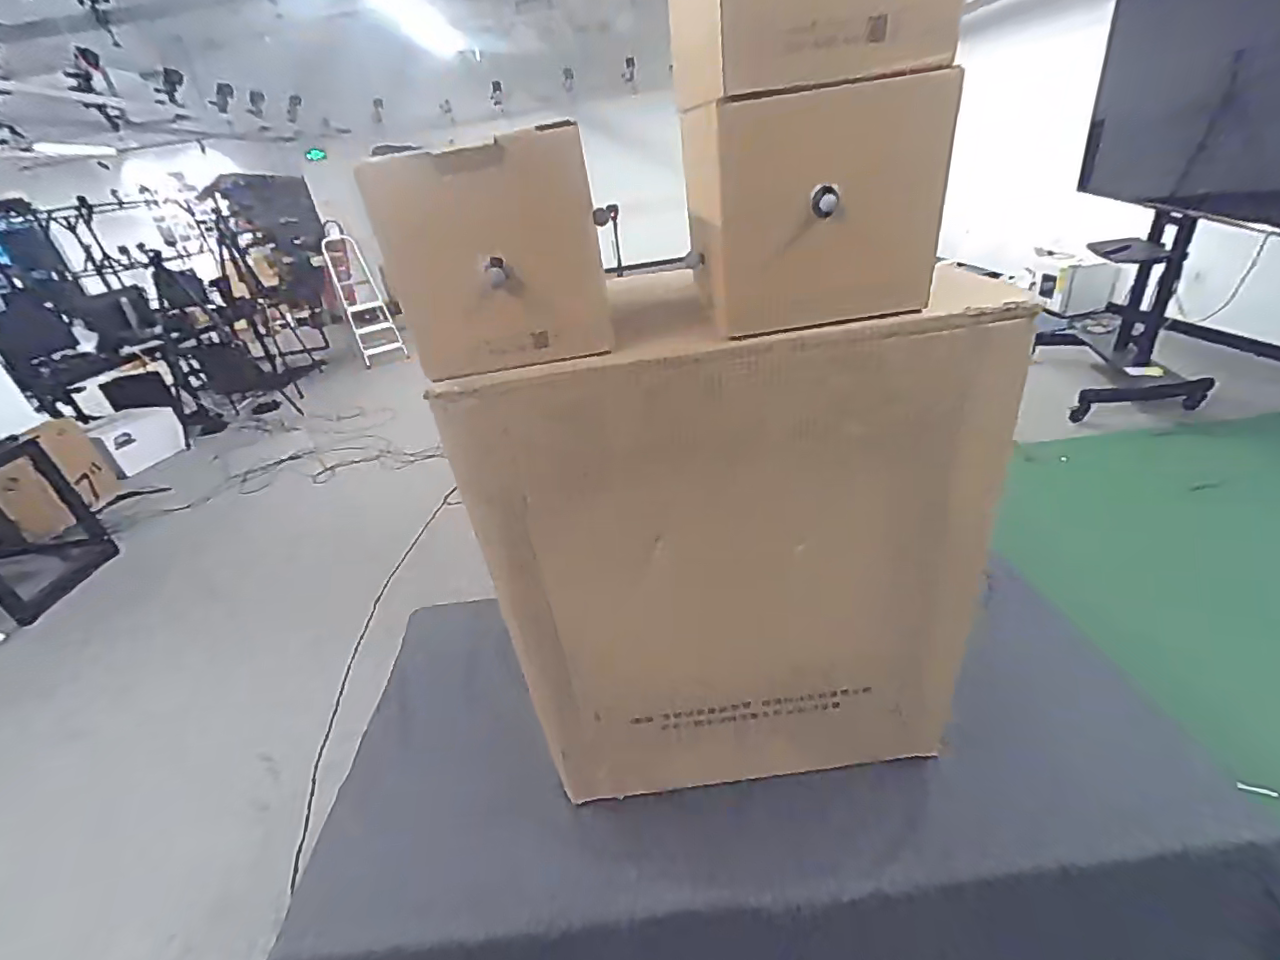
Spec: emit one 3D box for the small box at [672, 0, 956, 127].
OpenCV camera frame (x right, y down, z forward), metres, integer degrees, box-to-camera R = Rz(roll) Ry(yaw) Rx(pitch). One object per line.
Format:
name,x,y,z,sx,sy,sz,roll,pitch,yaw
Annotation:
small box,0.119,-0.374,0.403,0.168,0.176,0.179,-9,30,-3

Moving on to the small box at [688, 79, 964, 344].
small box,0.143,-0.233,0.479,0.179,0.176,0.168,-8,31,1

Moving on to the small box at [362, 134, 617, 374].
small box,-0.115,-0.206,0.499,0.168,0.176,0.179,-9,32,1
